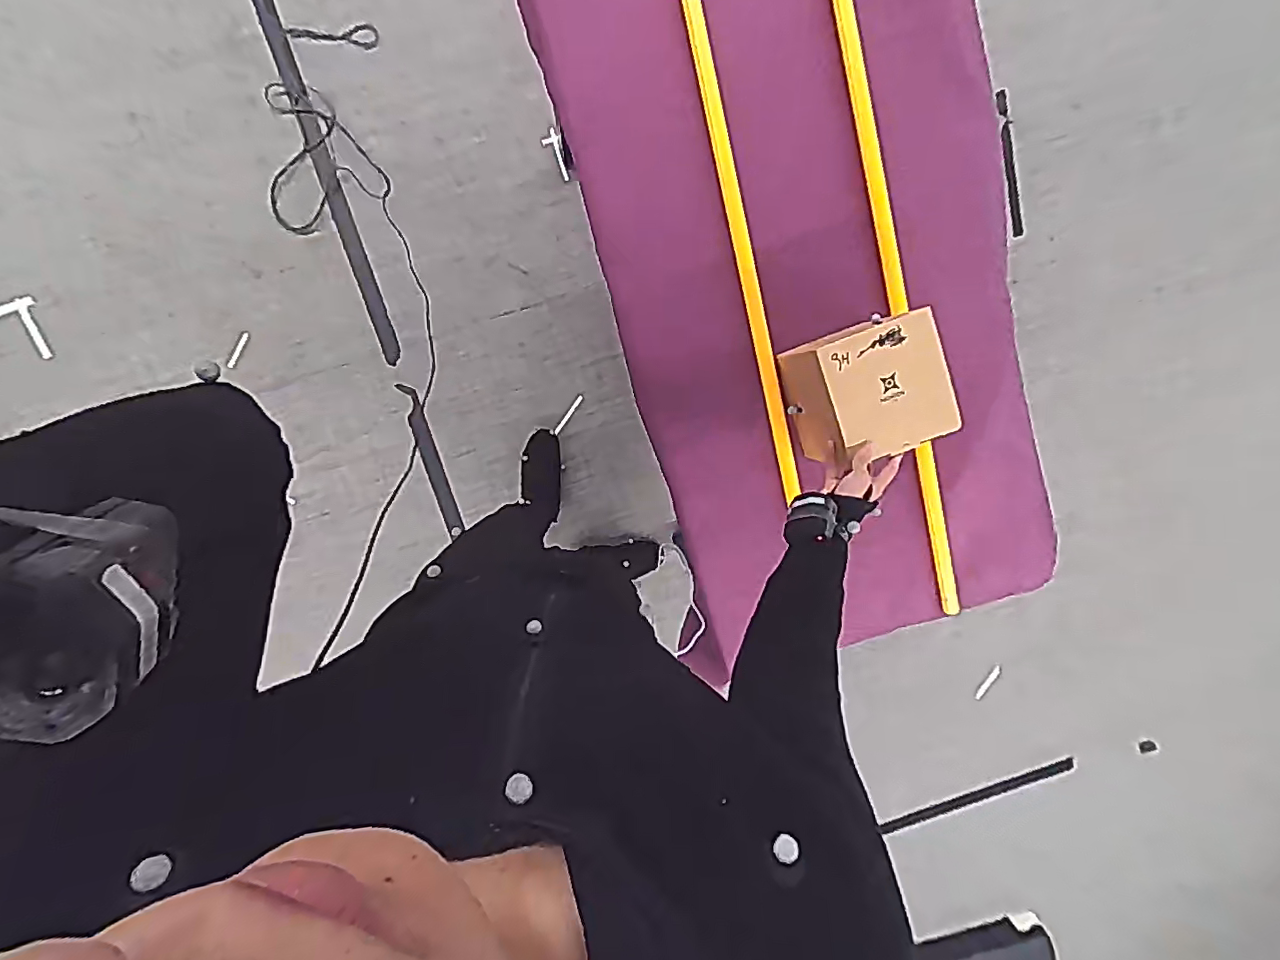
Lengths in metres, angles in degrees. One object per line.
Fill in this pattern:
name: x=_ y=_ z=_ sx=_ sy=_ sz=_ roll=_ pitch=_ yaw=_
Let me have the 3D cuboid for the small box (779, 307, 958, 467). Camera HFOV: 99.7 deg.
small box: x=0.328 y=-0.138 z=0.803 sx=0.168 sy=0.176 sz=0.179 roll=-20 pitch=101 yaw=-1
